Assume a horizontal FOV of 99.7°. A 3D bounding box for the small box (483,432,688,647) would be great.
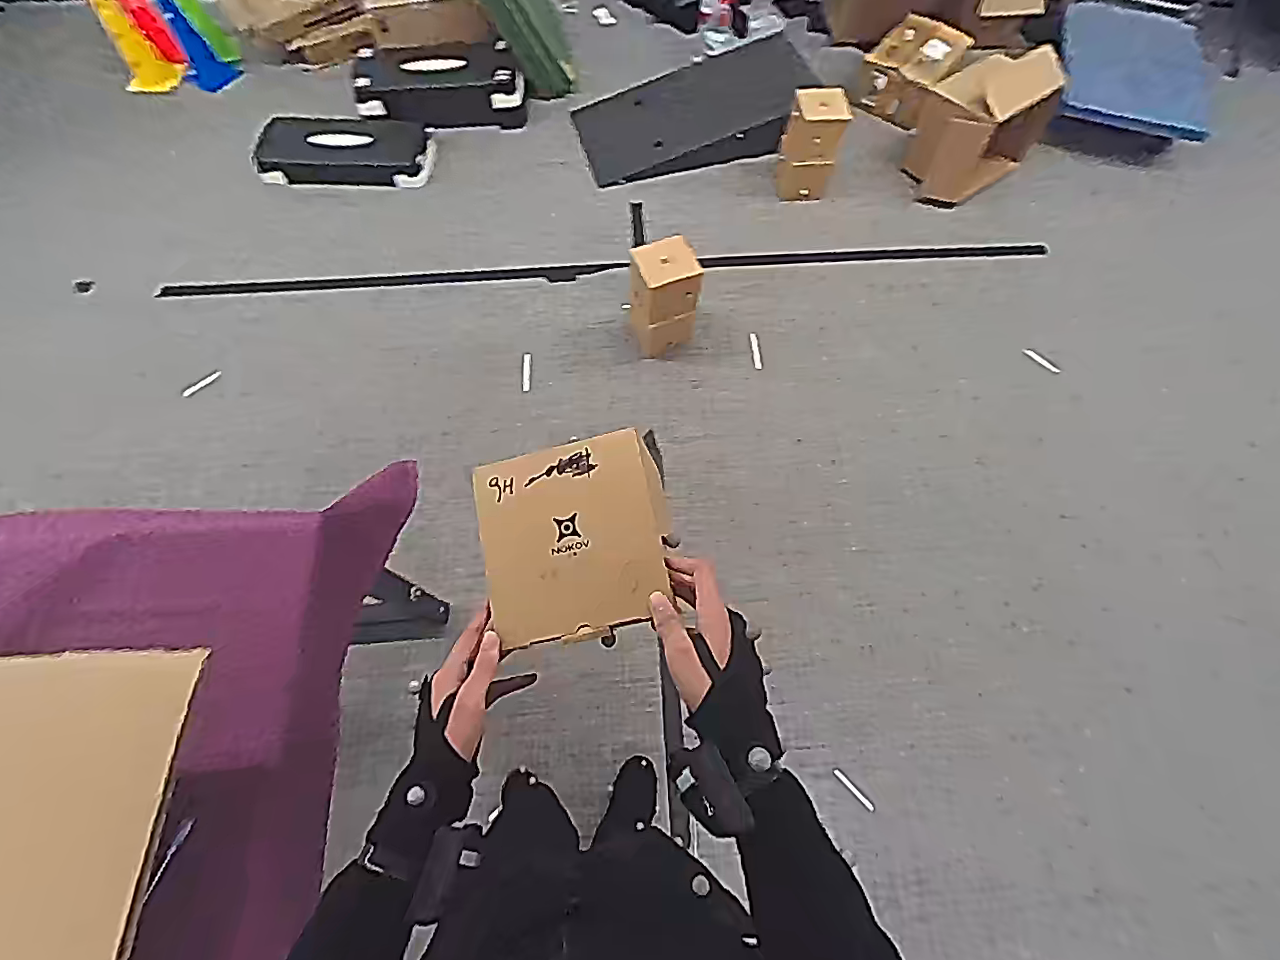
[{"bbox_3d":[-0.047,0.068,0.577,0.168,0.176,0.179,-12,76,6],"label":"small box"}]
